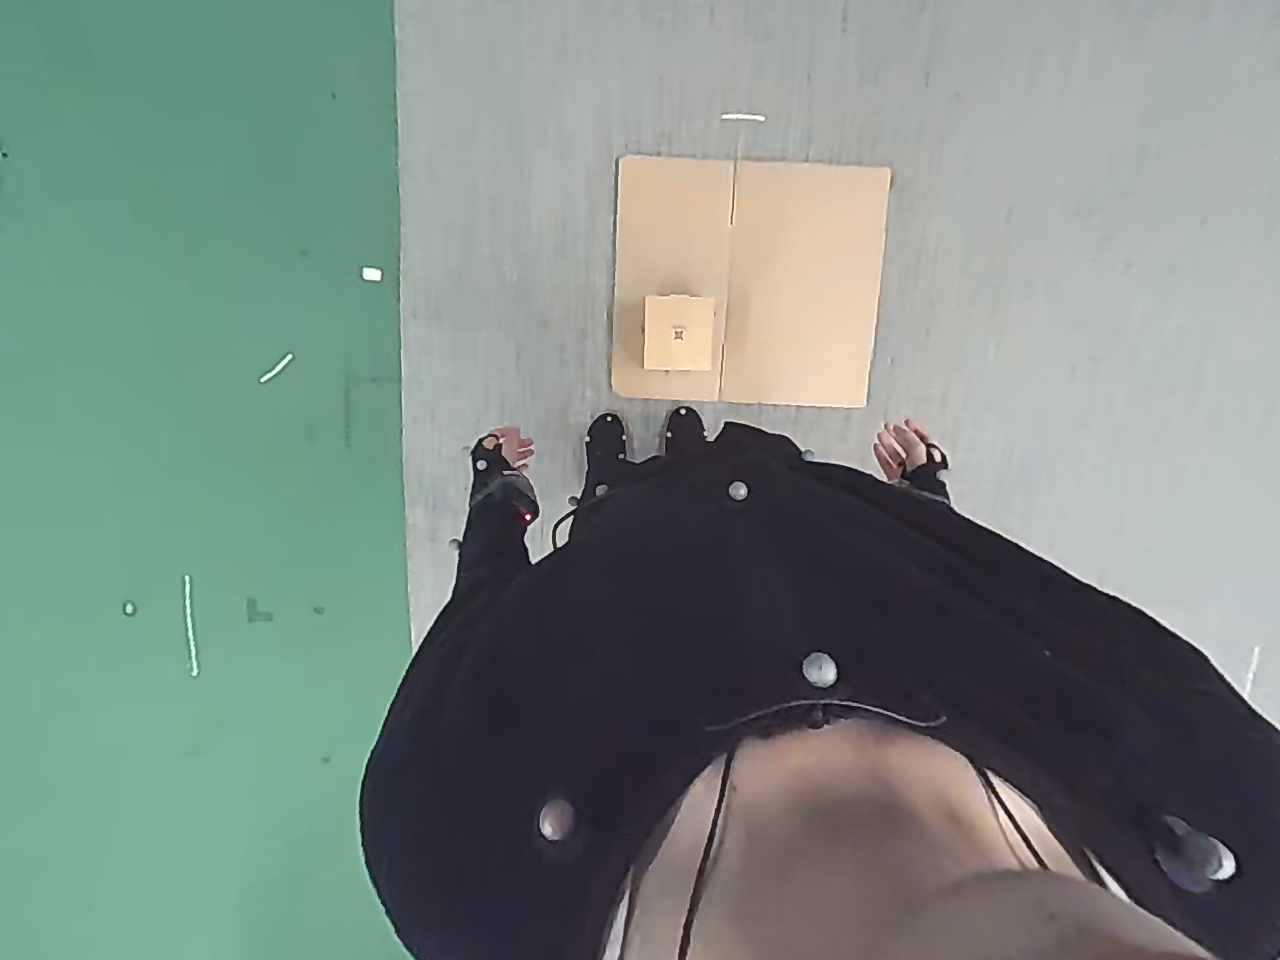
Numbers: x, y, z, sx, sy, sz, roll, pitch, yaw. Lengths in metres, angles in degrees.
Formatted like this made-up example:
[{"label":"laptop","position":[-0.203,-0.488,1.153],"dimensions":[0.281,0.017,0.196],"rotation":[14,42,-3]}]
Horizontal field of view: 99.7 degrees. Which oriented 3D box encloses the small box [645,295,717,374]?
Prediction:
[{"label":"small box","position":[0.097,-0.358,1.356],"dimensions":[0.168,0.176,0.179],"rotation":[1,99,0]}]
